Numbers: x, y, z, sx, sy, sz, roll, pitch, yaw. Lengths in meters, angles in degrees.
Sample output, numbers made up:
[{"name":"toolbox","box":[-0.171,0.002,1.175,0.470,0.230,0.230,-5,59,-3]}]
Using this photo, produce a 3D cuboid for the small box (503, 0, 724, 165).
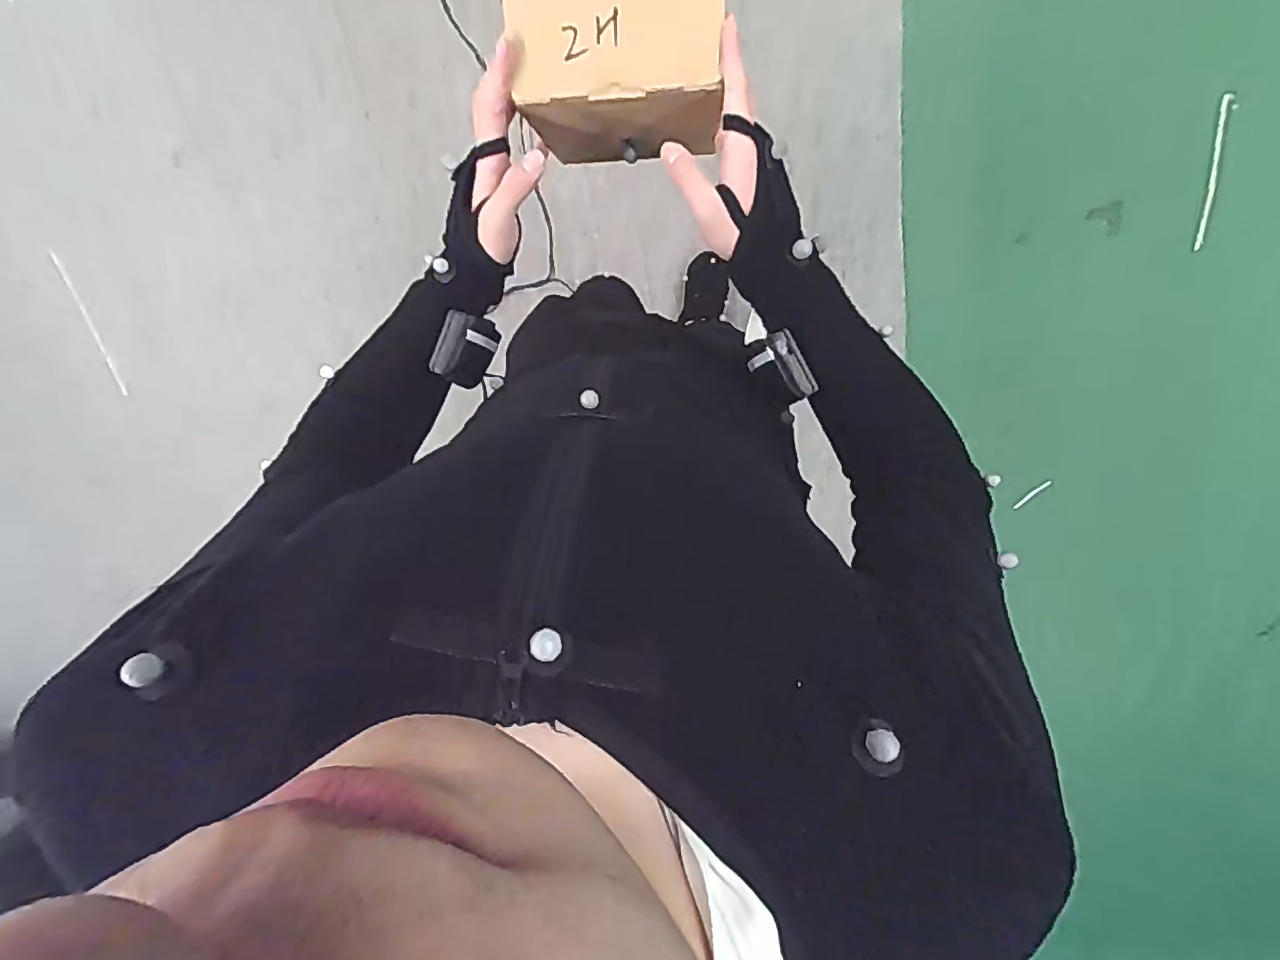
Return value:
[{"name":"small box","box":[-0.014,-0.398,0.466,0.168,0.176,0.179,0,105,6]}]
